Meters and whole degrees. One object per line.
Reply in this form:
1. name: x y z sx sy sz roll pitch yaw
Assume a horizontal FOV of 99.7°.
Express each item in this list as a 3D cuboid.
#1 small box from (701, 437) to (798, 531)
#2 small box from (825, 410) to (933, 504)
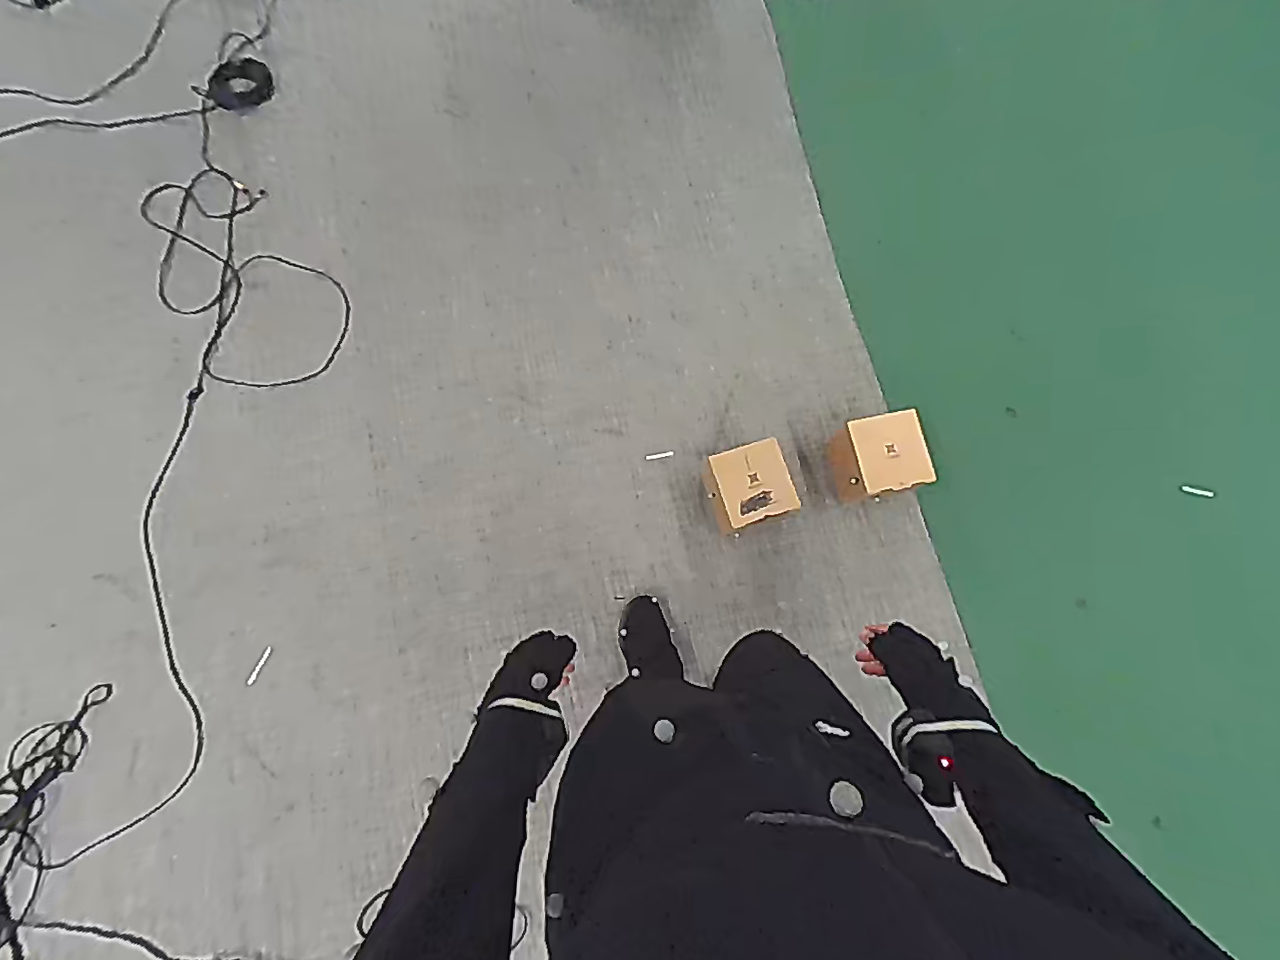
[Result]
1. small box: 0.256 0.018 1.304 0.168 0.176 0.179 -17 79 -4
2. small box: 0.572 -0.051 1.322 0.168 0.176 0.179 -12 80 -2
